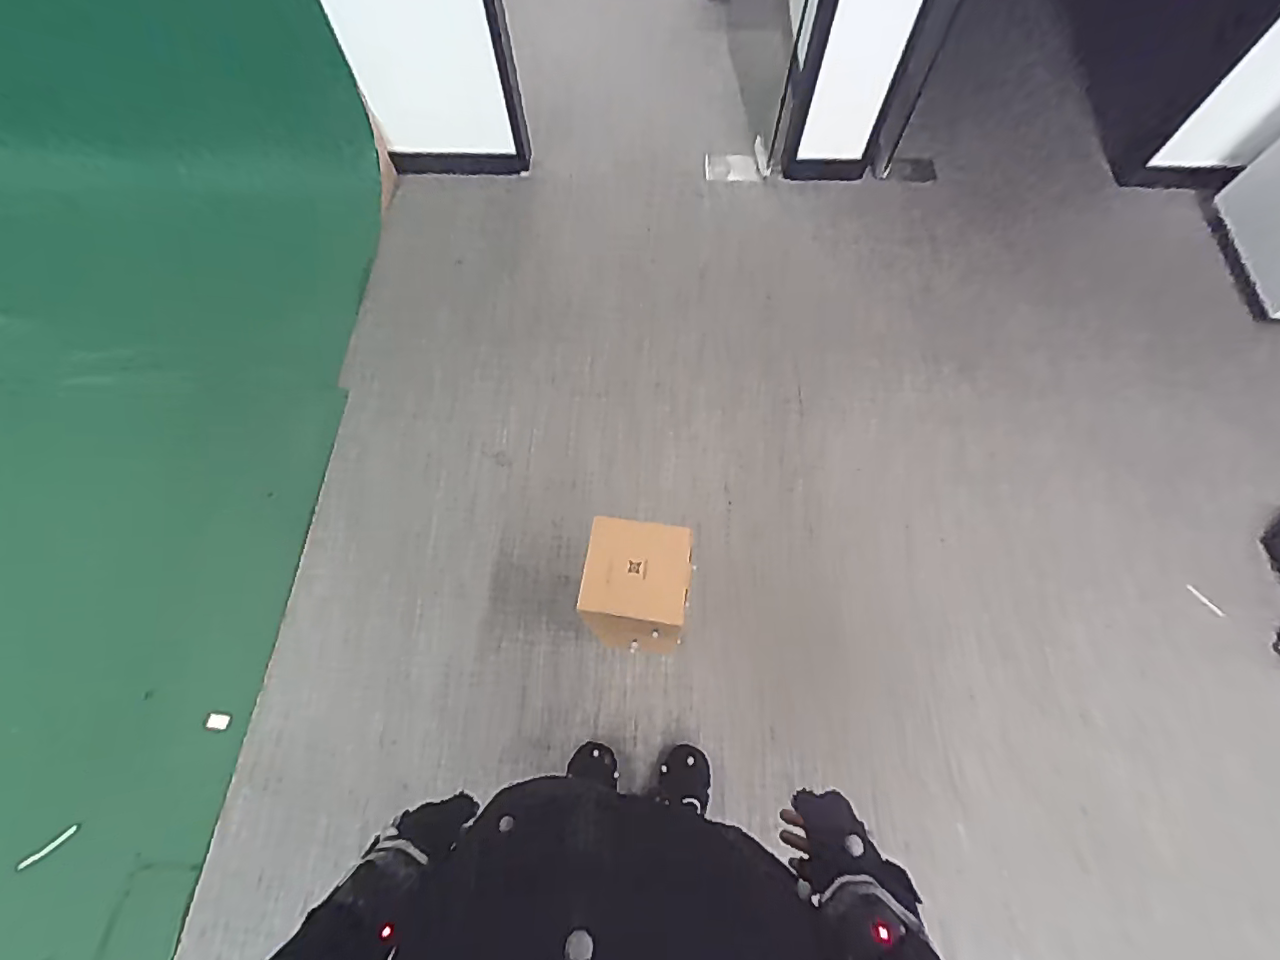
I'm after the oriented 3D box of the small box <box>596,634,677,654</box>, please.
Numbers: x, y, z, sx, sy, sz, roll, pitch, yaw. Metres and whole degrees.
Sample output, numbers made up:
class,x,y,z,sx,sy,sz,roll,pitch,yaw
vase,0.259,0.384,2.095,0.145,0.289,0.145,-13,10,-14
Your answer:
class,x,y,z,sx,sy,sz,roll,pitch,yaw
small box,0.004,0.307,1.268,0.179,0.176,0.168,6,66,5

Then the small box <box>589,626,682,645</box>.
class,x,y,z,sx,sy,sz,roll,pitch,yaw
small box,0.000,0.244,1.120,0.179,0.176,0.168,5,68,4

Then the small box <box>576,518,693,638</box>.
class,x,y,z,sx,sy,sz,roll,pitch,yaw
small box,-0.004,0.181,0.968,0.179,0.176,0.168,6,66,5
